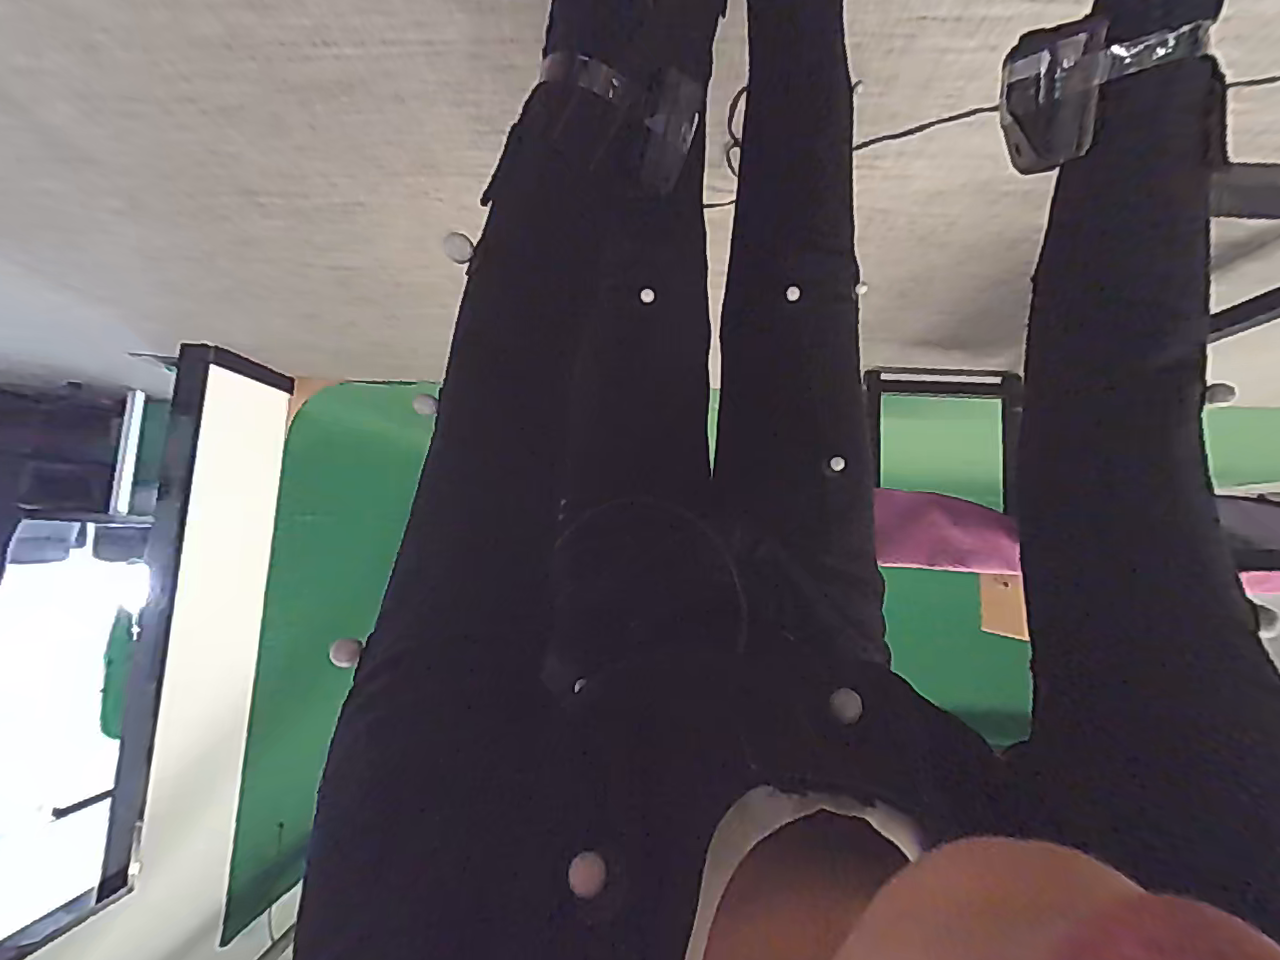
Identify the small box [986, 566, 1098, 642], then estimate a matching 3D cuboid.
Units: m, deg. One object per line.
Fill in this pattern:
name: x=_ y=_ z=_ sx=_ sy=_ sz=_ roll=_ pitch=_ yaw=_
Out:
small box: x=1.036 y=0.316 z=1.404 sx=0.179 sy=0.176 sz=0.168 roll=4 pitch=172 yaw=-2
